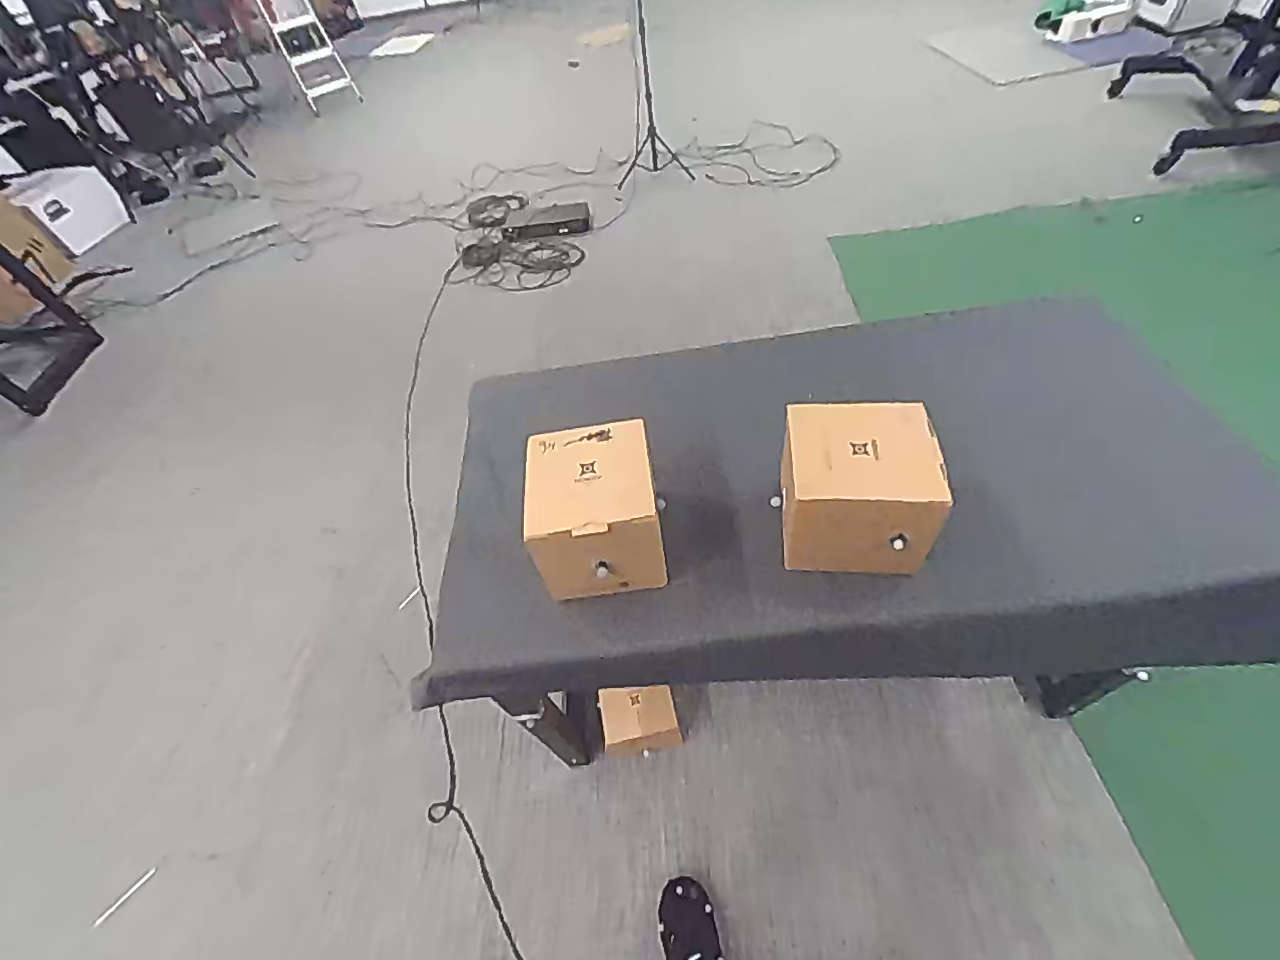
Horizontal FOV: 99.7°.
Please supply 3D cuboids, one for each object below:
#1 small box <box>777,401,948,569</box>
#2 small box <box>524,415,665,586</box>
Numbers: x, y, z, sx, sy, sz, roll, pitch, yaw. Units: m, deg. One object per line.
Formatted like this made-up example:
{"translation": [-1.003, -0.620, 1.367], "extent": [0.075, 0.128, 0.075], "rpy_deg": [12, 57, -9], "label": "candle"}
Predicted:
{"translation": [0.287, 0.010, 0.742], "extent": [0.179, 0.176, 0.168], "rpy_deg": [0, 50, 10], "label": "small box"}
{"translation": [-0.058, 0.037, 0.767], "extent": [0.168, 0.176, 0.179], "rpy_deg": [-8, 51, 1], "label": "small box"}
